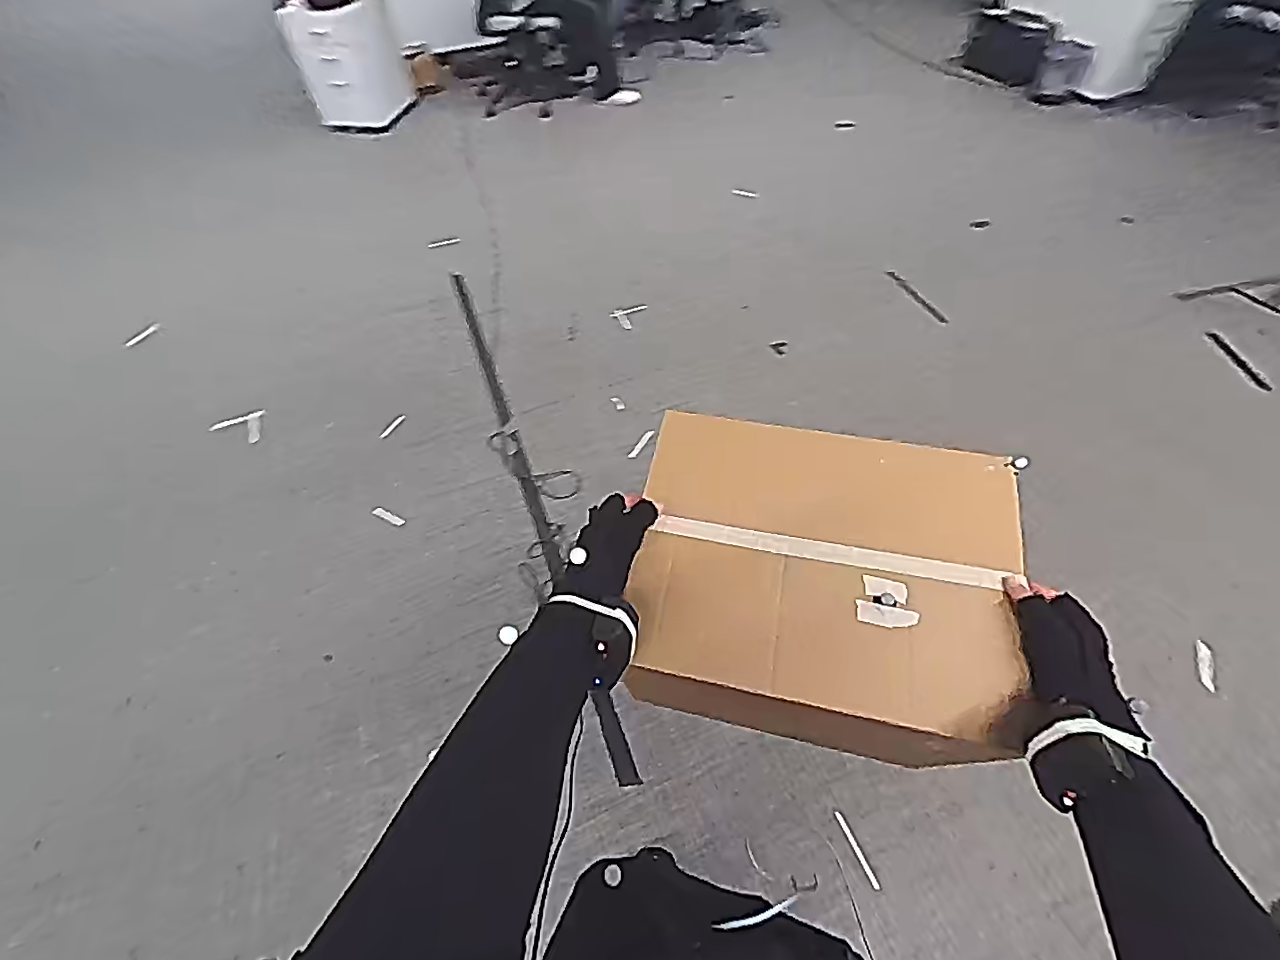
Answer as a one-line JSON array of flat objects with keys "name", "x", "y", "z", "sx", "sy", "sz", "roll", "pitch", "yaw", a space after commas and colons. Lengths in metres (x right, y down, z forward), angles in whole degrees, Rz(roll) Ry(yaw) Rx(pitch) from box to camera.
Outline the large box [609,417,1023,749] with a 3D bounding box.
[{"name": "large box", "x": 0.200, "y": 0.147, "z": 0.725, "sx": 0.408, "sy": 0.320, "sz": 0.320, "roll": 9, "pitch": 63, "yaw": 10}]
